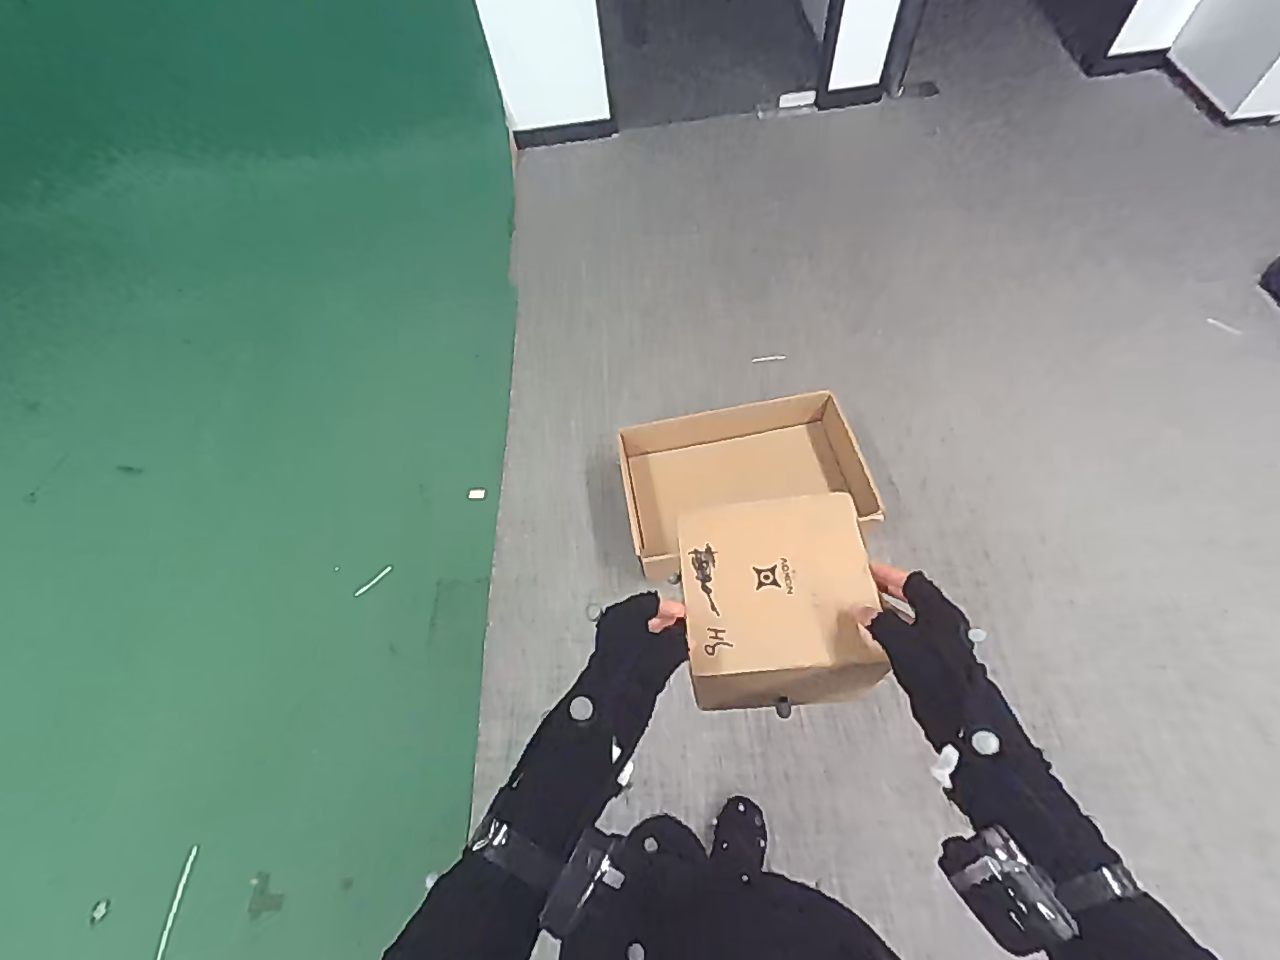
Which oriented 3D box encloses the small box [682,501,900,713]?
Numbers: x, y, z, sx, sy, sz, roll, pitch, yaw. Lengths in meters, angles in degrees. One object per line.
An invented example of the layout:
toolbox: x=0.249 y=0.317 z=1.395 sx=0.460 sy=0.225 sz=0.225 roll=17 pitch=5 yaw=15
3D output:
small box: x=0.139 y=0.139 z=0.565 sx=0.179 sy=0.176 sz=0.168 roll=-6 pitch=56 yaw=5
